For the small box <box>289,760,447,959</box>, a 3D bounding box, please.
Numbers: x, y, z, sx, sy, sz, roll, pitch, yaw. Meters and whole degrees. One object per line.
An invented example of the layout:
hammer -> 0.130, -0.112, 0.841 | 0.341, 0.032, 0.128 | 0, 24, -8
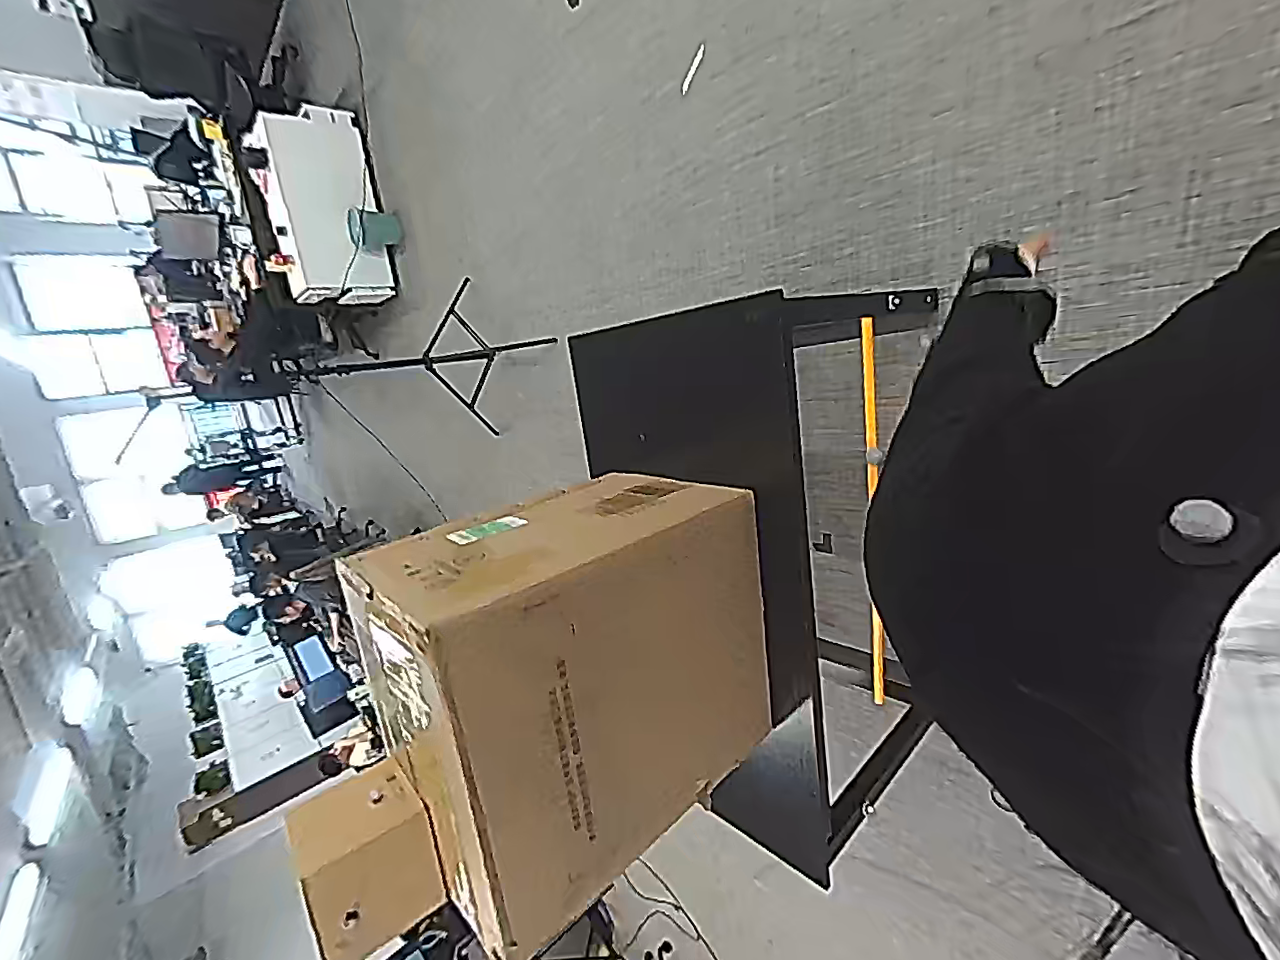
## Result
small box -> -0.413, 0.580, 0.831 | 0.168, 0.176, 0.179 | 8, 109, 50
